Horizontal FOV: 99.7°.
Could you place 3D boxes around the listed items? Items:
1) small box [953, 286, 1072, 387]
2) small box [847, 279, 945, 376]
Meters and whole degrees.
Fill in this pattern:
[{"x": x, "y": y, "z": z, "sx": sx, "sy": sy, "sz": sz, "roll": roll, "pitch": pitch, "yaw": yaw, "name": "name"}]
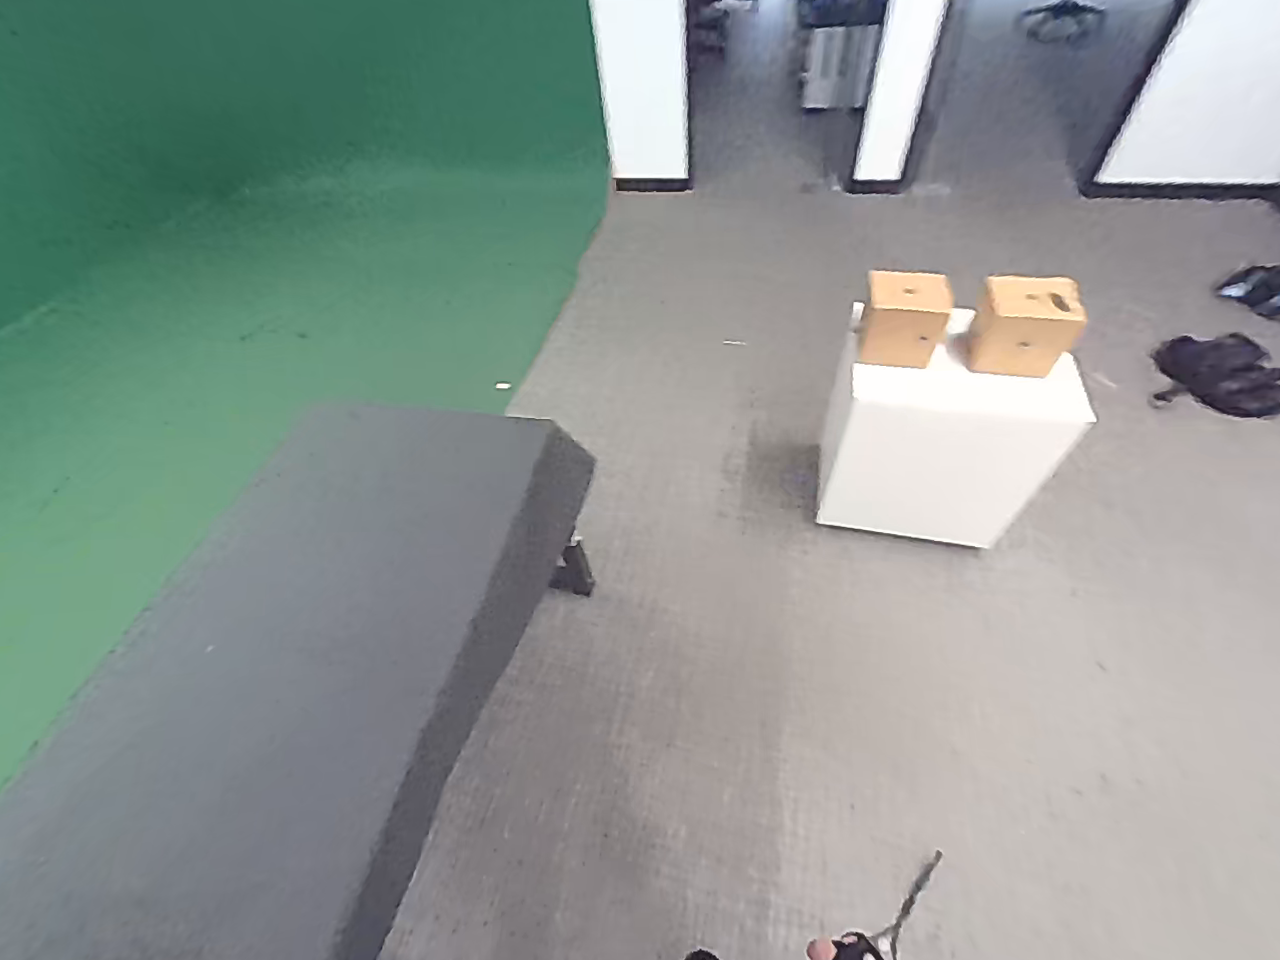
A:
[{"x": 0.895, "y": -0.346, "z": 1.317, "sx": 0.179, "sy": 0.176, "sz": 0.168, "roll": 8, "pitch": 52, "yaw": 12, "name": "small box"}, {"x": 0.637, "y": -0.382, "z": 1.366, "sx": 0.179, "sy": 0.176, "sz": 0.168, "roll": 7, "pitch": 51, "yaw": 9, "name": "small box"}]
